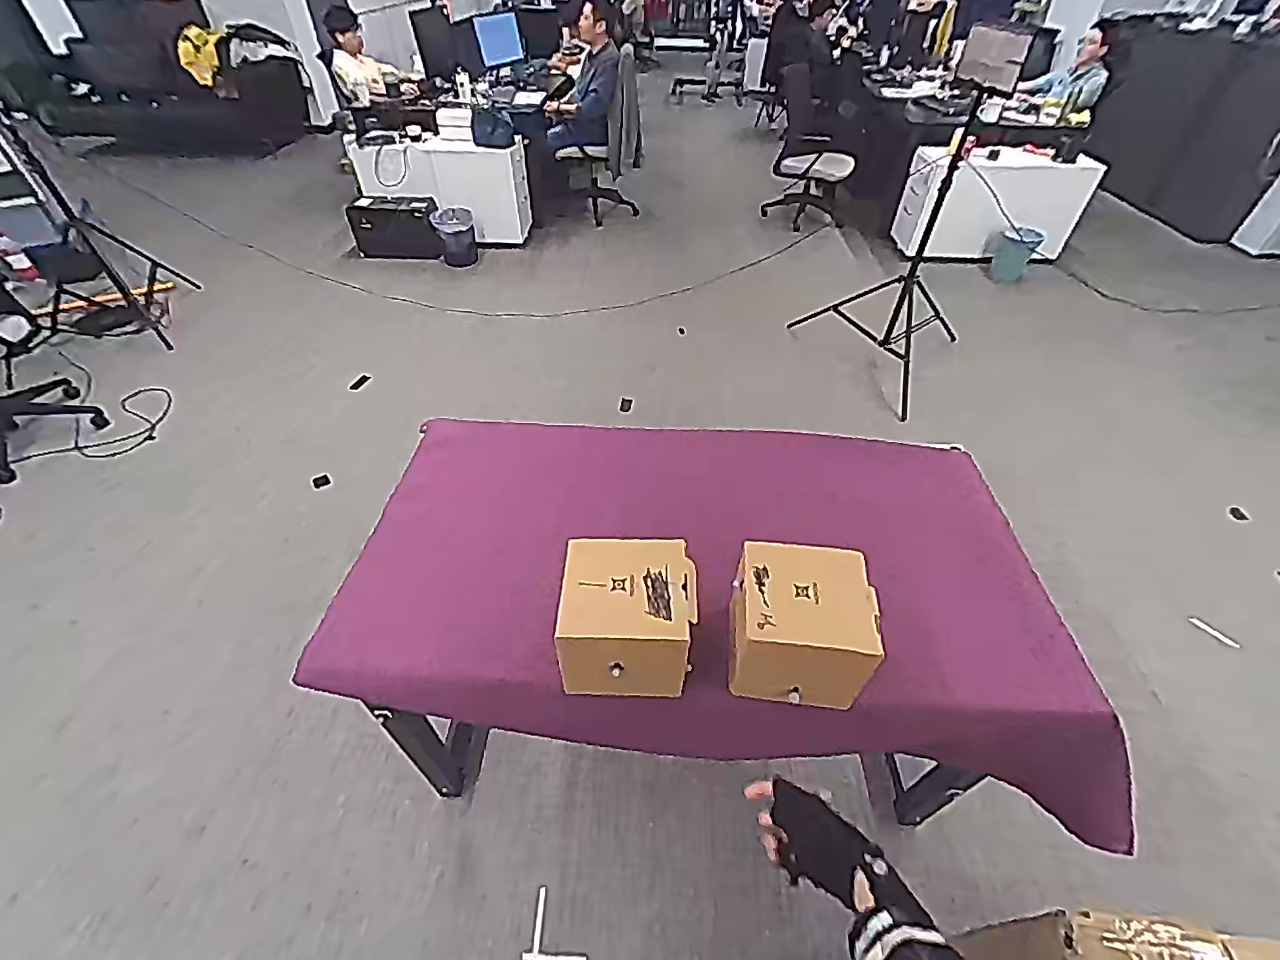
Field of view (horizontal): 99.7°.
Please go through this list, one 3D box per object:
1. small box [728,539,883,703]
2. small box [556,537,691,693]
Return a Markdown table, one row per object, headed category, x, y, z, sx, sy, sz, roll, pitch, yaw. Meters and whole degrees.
| category | x | y | z | sx | sy | sz | roll | pitch | yaw |
| --- | --- | --- | --- | --- | --- | --- | --- | --- | --- |
| small box | 0.231 | 0.212 | 0.802 | 0.179 | 0.176 | 0.168 | 6 | 44 | 4 |
| small box | -0.020 | 0.203 | 0.806 | 0.179 | 0.176 | 0.168 | 1 | 44 | 2 |
